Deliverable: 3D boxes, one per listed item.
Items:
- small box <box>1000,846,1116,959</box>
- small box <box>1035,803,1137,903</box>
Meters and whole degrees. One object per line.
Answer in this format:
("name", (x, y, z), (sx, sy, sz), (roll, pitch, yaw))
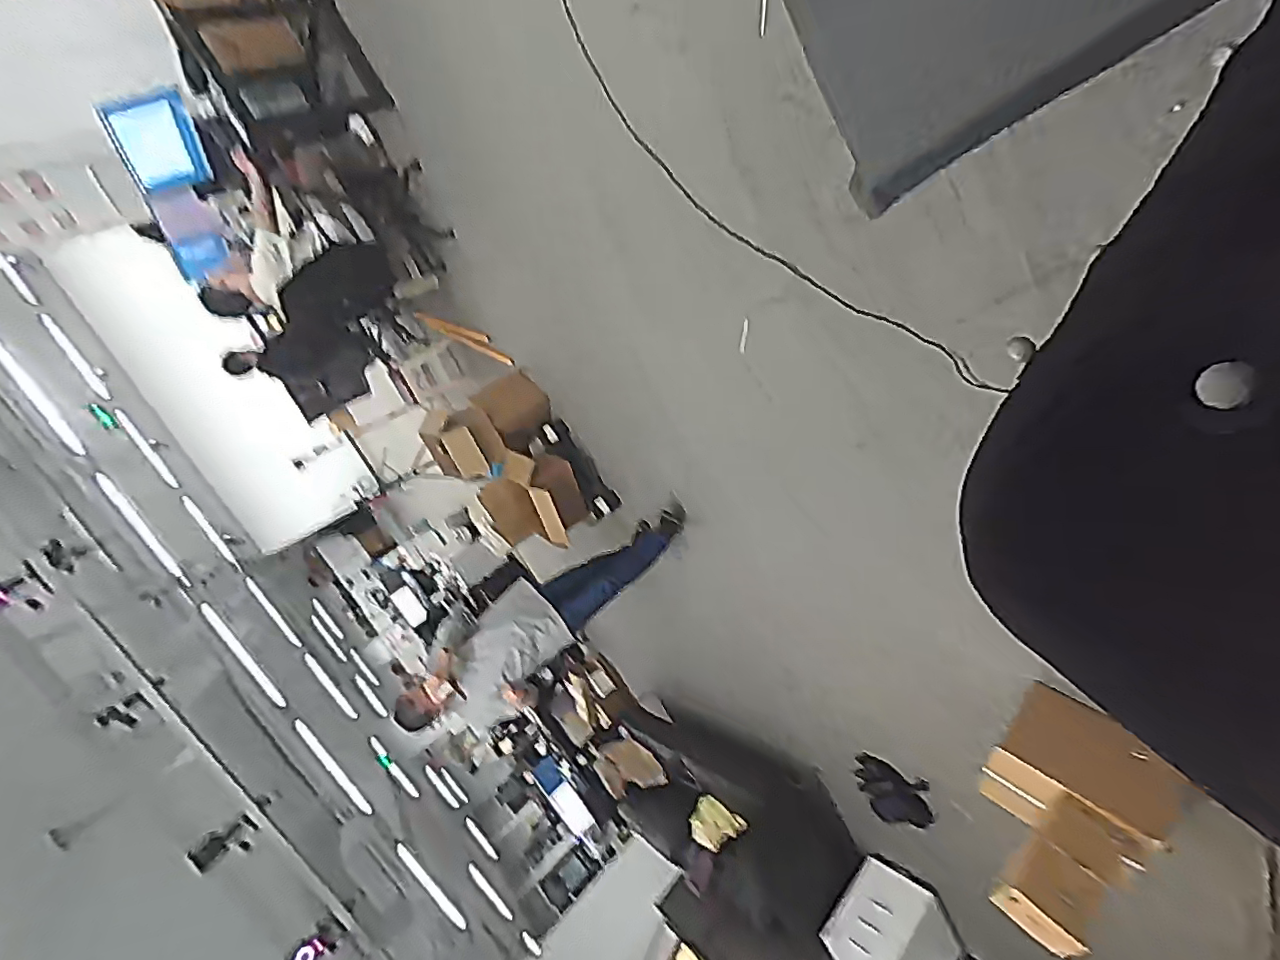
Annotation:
("small box", (1.113, 1.131, 1.442), (0.179, 0.176, 0.168), (33, 147, 37))
("small box", (1.233, 1.044, 1.505), (0.168, 0.176, 0.179), (33, 145, 36))
